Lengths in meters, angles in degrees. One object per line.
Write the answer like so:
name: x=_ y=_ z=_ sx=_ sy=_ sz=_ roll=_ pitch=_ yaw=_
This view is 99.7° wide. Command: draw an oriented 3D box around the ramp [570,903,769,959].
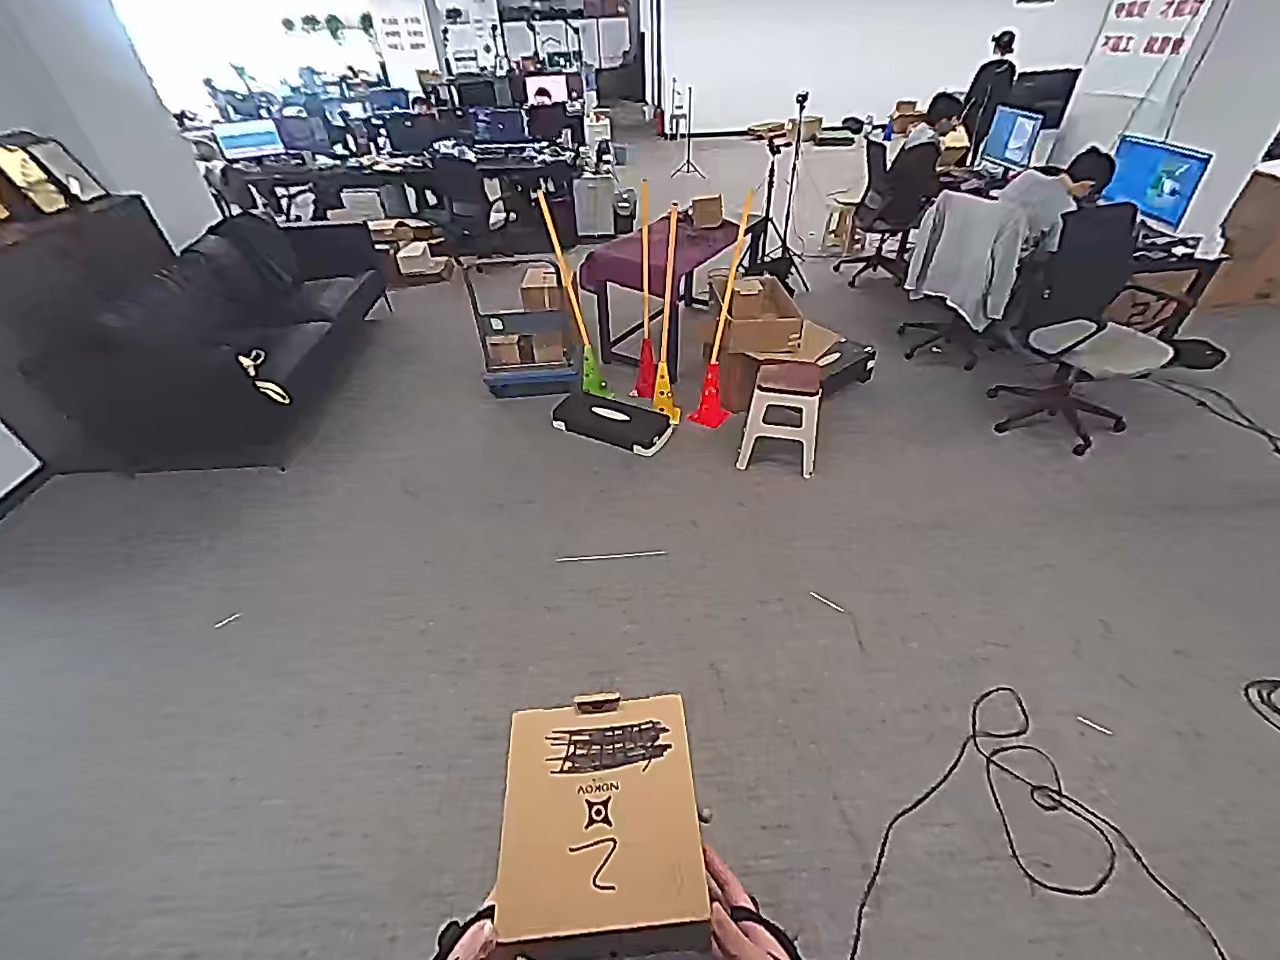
ramp: x=0.092 y=1.371 z=0.976 sx=0.509 sy=0.206 sz=0.991 roll=-6 pitch=40 yaw=-2
